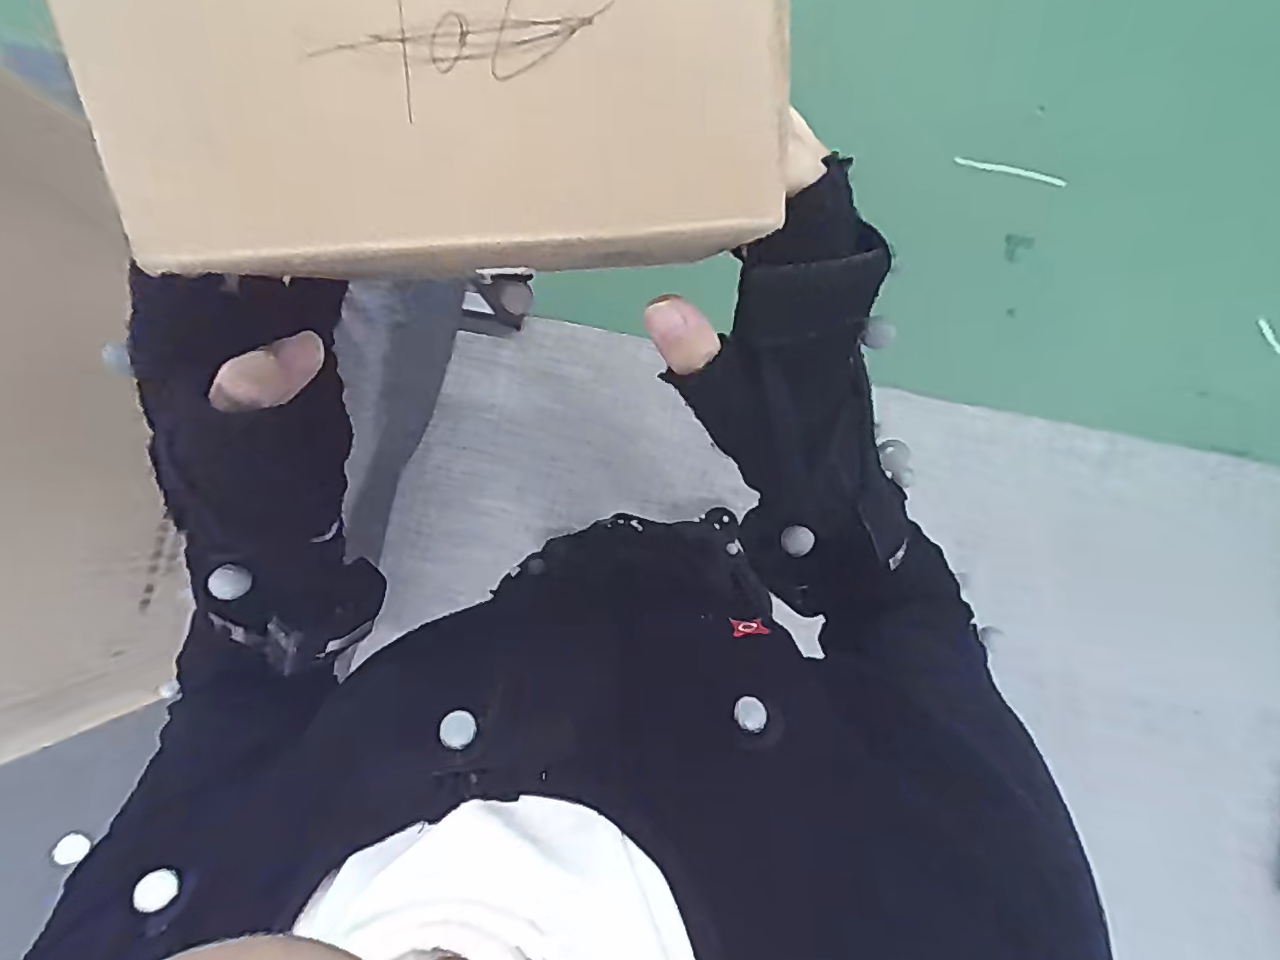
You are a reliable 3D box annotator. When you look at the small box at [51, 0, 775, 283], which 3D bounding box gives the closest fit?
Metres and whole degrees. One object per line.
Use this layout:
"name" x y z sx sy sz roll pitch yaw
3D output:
"small box" -0.054 -0.168 0.190 0.168 0.176 0.179 -3 110 0
